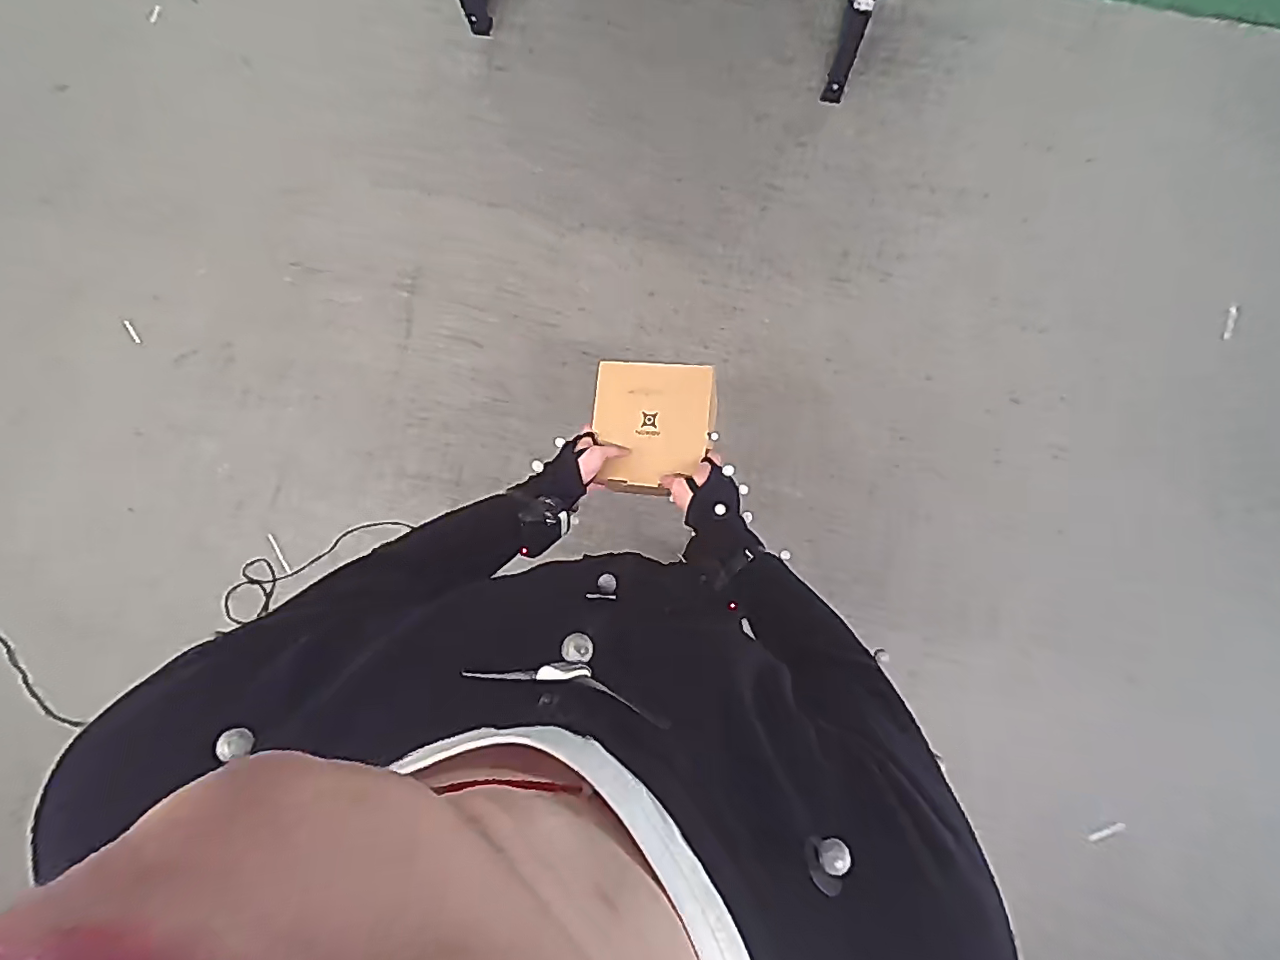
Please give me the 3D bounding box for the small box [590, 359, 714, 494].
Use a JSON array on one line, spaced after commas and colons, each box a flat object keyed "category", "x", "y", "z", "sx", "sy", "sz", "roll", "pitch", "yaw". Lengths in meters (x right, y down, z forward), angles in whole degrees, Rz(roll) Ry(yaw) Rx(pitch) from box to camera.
[{"category": "small box", "x": 0.027, "y": -0.074, "z": 0.839, "sx": 0.168, "sy": 0.176, "sz": 0.179, "roll": 4, "pitch": 83, "yaw": 8}]
